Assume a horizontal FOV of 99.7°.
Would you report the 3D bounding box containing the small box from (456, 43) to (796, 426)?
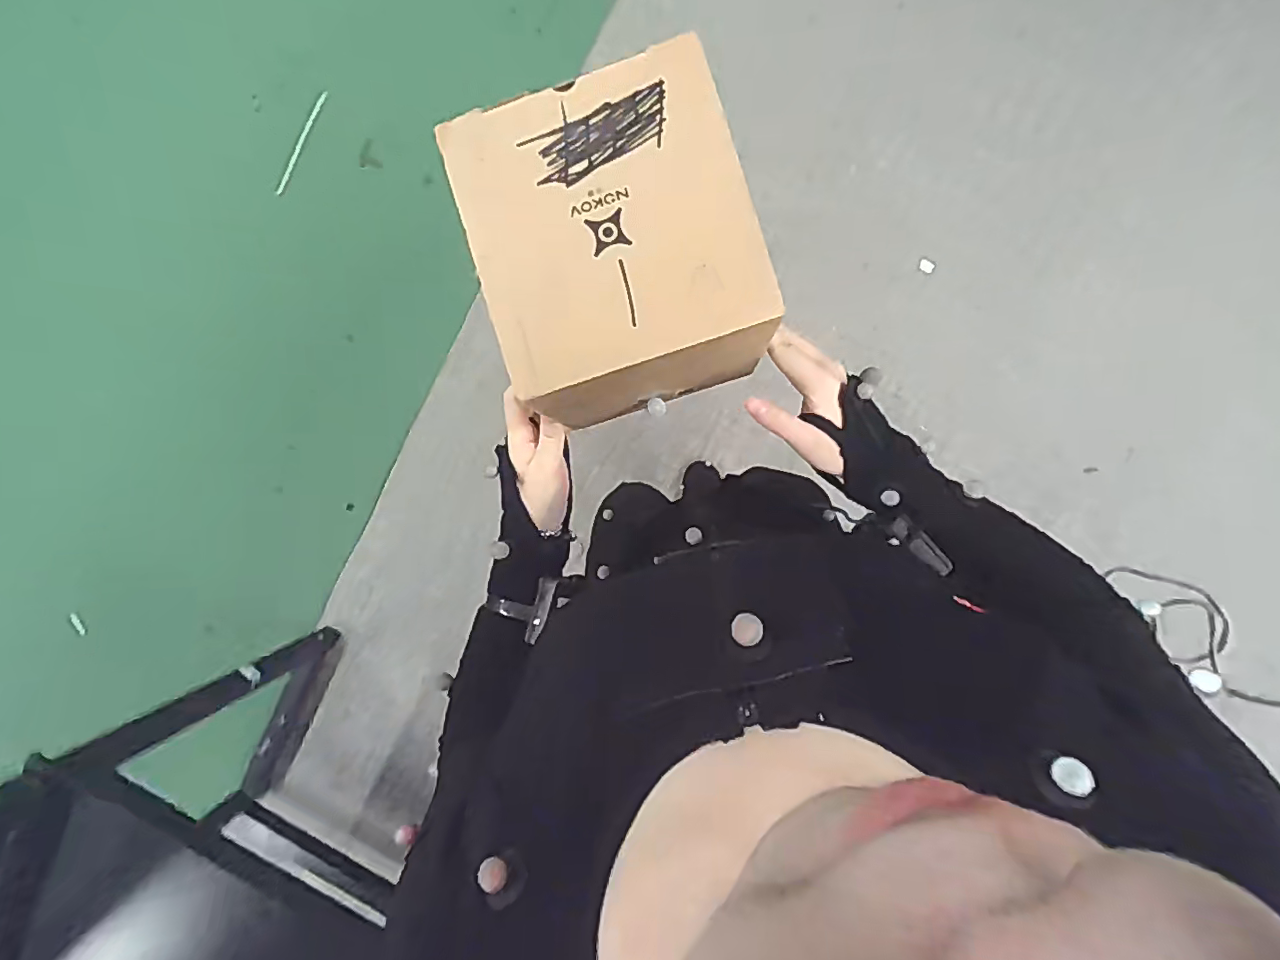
[{"bbox_3d":[-0.006,-0.150,0.396,0.168,0.176,0.179,-17,89,4],"label":"small box"}]
